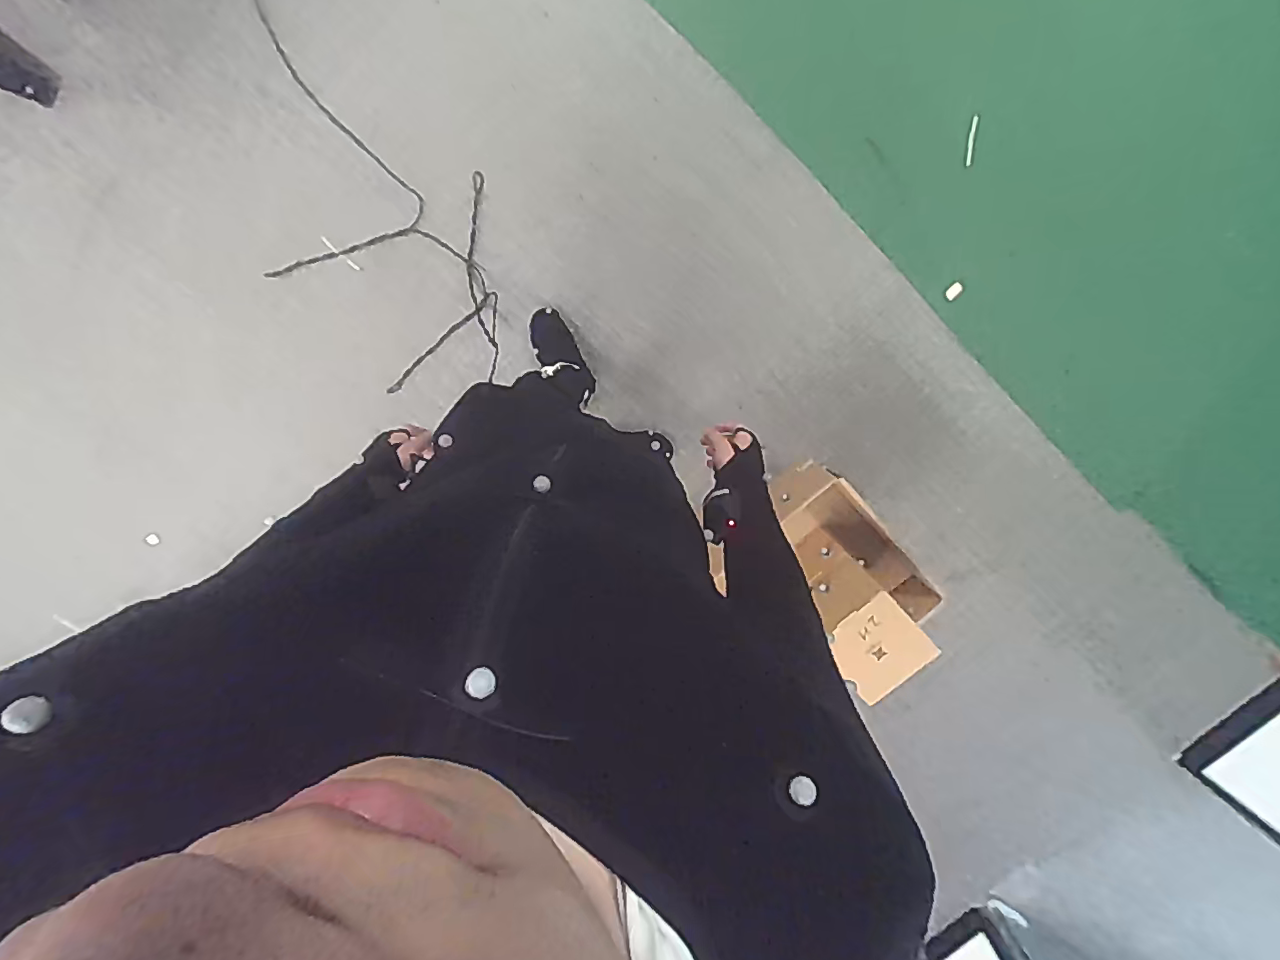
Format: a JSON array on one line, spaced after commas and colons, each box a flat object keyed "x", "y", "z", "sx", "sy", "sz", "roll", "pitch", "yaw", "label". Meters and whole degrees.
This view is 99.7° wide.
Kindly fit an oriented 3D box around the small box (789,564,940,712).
[{"x": 0.416, "y": 0.291, "z": 1.030, "sx": 0.168, "sy": 0.176, "sz": 0.179, "roll": -43, "pitch": 101, "yaw": 9, "label": "small box"}]
